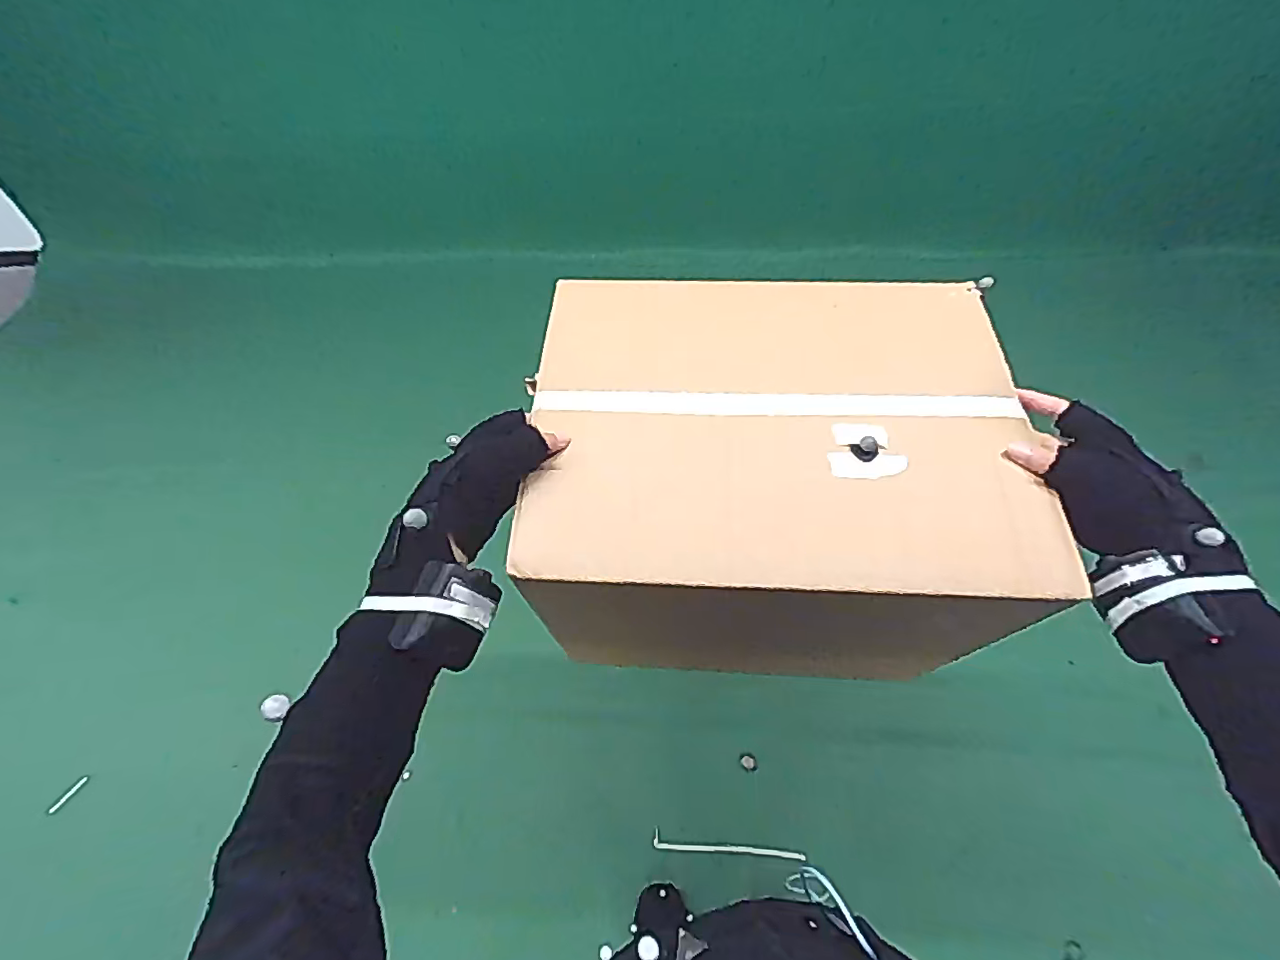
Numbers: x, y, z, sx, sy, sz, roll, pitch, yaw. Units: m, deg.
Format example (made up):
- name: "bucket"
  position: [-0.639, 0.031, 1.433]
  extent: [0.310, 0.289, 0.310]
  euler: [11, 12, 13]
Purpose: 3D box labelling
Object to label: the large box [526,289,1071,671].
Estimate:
- name: "large box"
  position: [0.119, 0.016, 0.594]
  extent: [0.408, 0.320, 0.320]
  euler: [2, 60, 3]
